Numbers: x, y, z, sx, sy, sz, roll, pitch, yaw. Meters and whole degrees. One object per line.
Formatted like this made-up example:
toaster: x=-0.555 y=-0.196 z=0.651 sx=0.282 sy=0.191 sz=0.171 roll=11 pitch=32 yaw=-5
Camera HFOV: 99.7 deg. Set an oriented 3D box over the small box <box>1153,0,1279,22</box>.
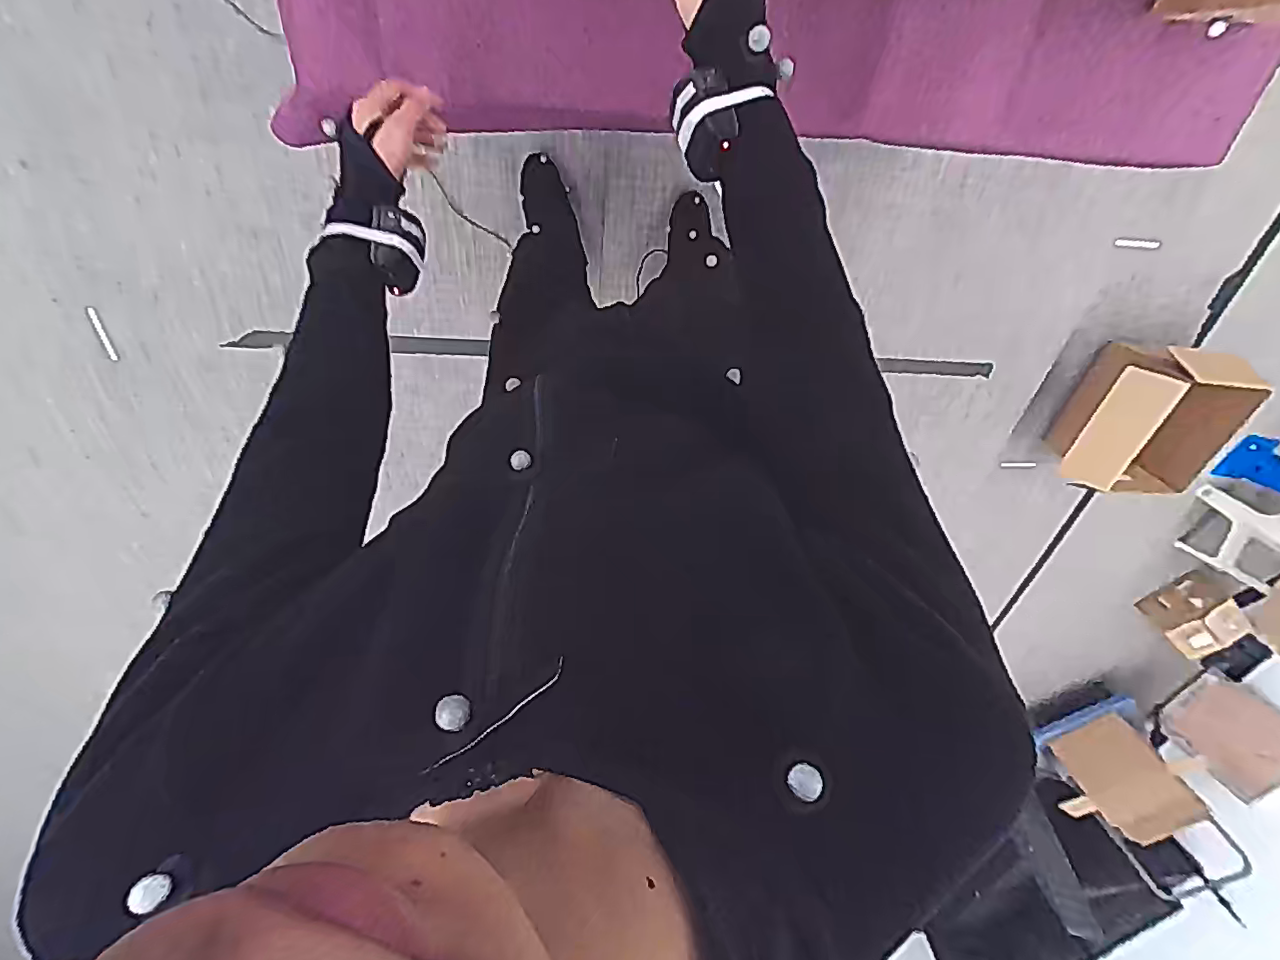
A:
small box: x=0.698 y=-0.592 z=0.549 sx=0.168 sy=0.176 sz=0.179 roll=-3 pitch=126 yaw=-6
